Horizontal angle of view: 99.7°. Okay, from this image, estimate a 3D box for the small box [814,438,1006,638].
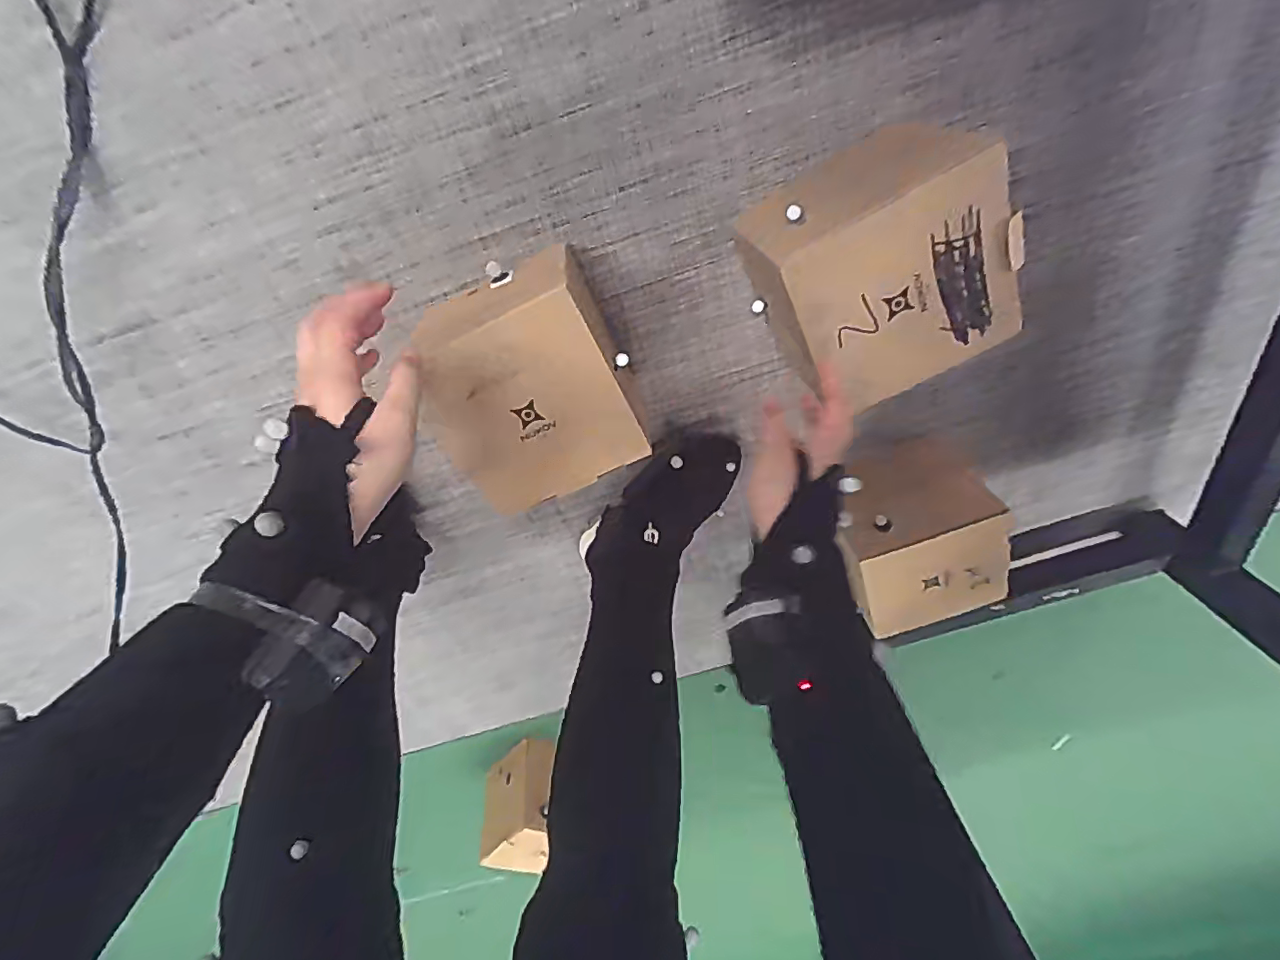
[{"bbox_3d":[0.349,0.073,0.724,0.179,0.176,0.168,-22,126,8],"label":"small box"}]

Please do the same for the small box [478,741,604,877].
[{"bbox_3d":[-0.189,0.640,1.057,0.179,0.176,0.168,29,117,-25],"label":"small box"}]
